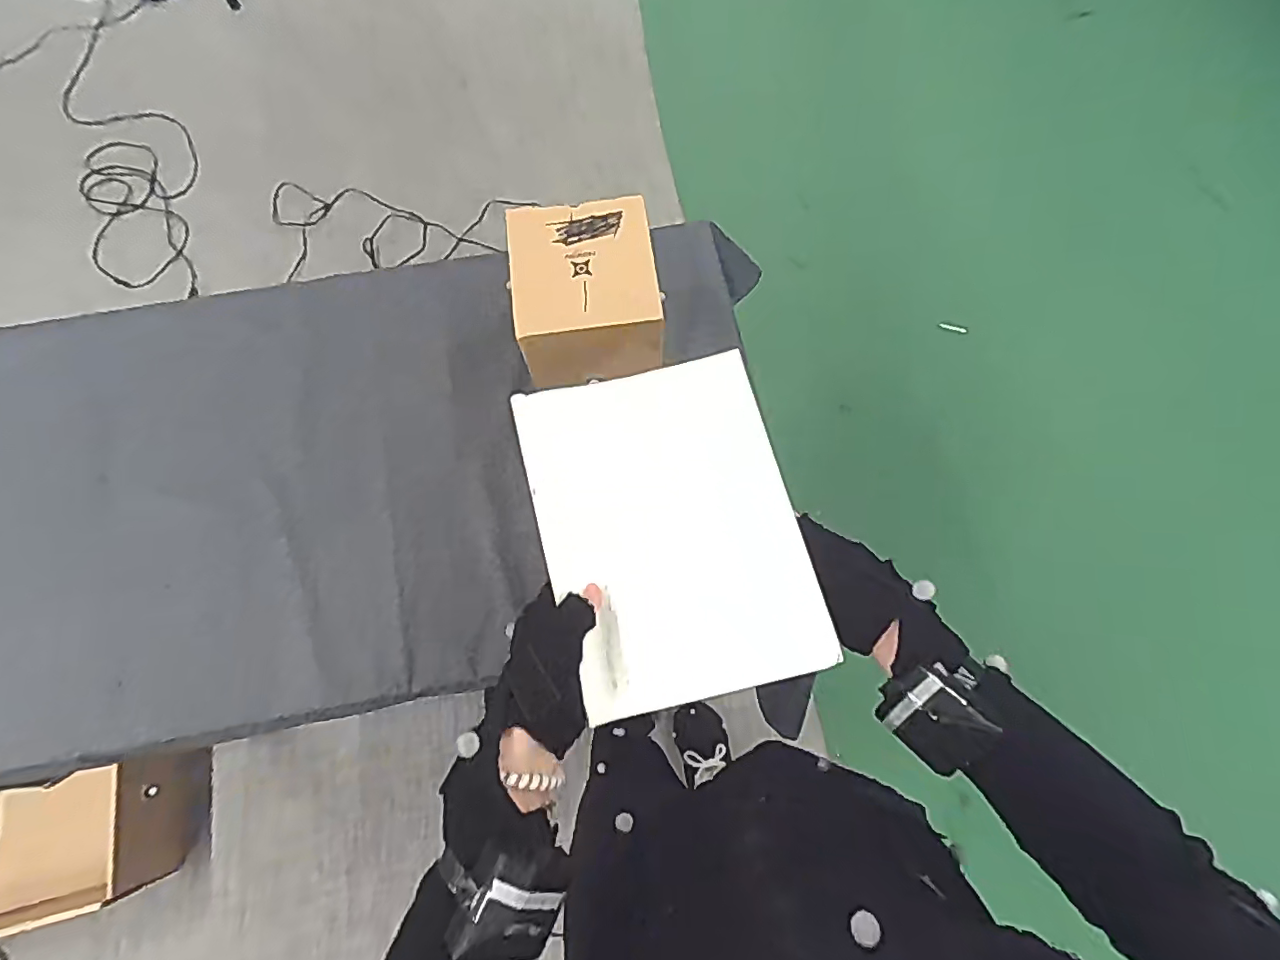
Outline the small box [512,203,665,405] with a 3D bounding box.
[{"bbox_3d":[-0.063,-0.217,0.693,0.168,0.176,0.179,-7,72,-1],"label":"small box"}]
